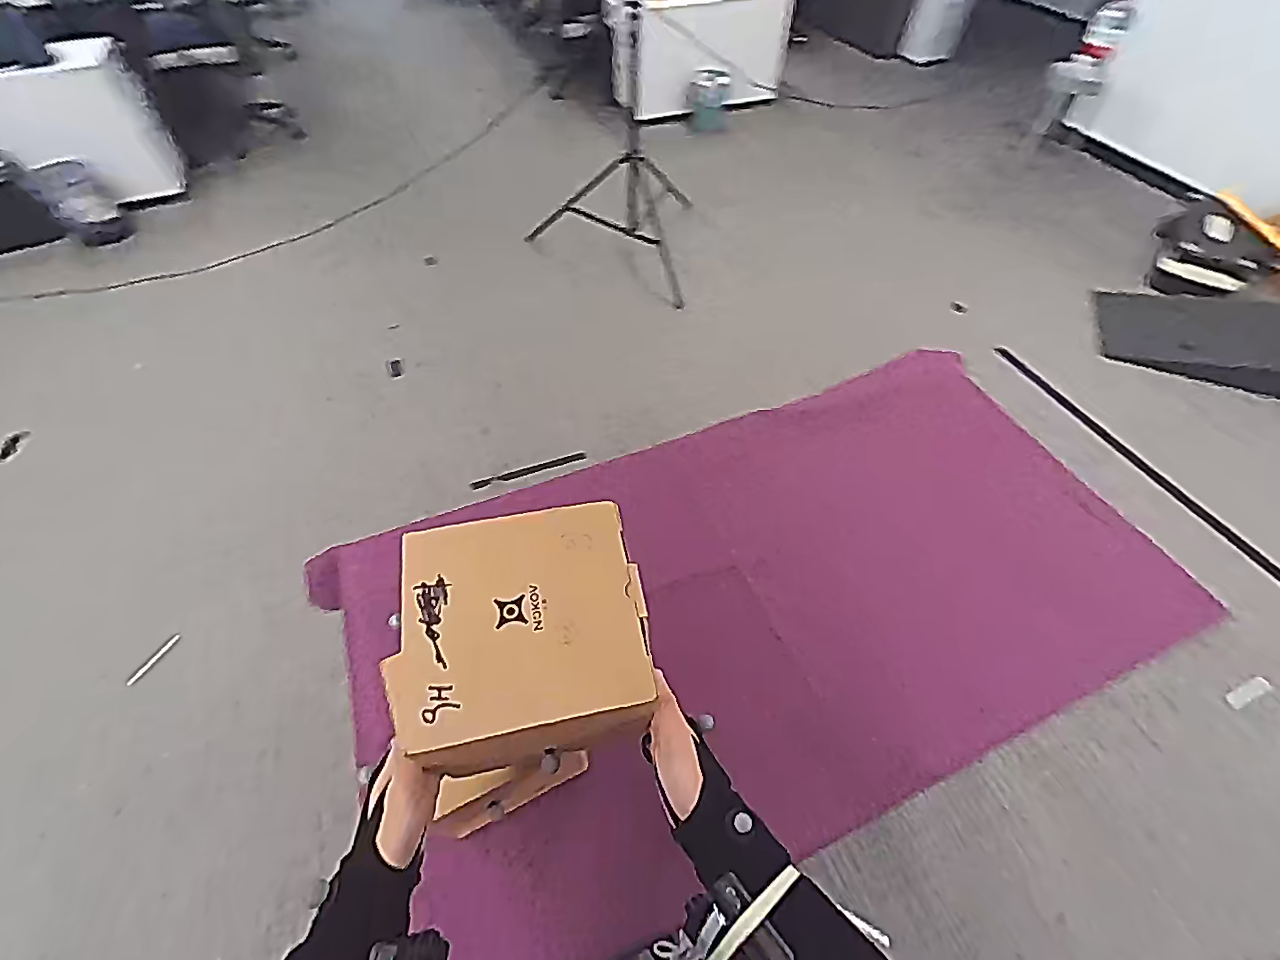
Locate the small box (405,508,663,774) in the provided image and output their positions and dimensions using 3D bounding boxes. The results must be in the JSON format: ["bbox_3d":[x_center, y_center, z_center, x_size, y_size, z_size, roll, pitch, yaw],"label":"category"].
[{"bbox_3d":[-0.090,0.144,0.472,0.179,0.176,0.168,-7,57,-10],"label":"small box"}]

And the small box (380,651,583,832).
[{"bbox_3d":[-0.175,0.281,0.632,0.168,0.176,0.179,-22,57,-16],"label":"small box"}]
